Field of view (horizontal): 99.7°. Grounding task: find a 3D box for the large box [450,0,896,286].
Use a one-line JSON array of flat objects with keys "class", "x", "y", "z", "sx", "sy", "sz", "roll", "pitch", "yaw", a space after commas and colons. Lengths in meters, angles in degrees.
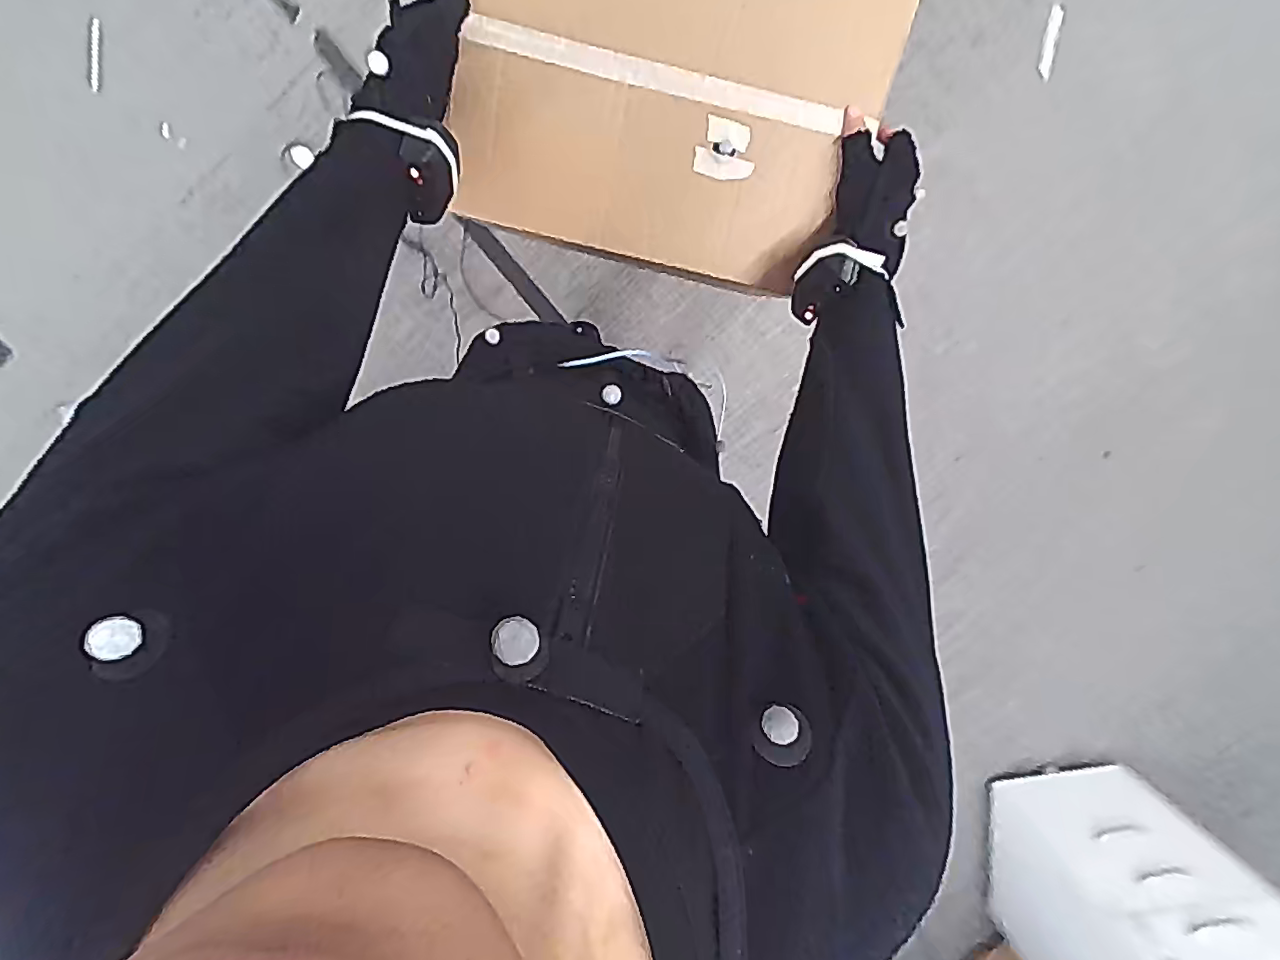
[{"class": "large box", "x": 0.021, "y": -0.434, "z": 0.661, "sx": 0.408, "sy": 0.320, "sz": 0.320, "roll": 11, "pitch": 111, "yaw": -4}]
